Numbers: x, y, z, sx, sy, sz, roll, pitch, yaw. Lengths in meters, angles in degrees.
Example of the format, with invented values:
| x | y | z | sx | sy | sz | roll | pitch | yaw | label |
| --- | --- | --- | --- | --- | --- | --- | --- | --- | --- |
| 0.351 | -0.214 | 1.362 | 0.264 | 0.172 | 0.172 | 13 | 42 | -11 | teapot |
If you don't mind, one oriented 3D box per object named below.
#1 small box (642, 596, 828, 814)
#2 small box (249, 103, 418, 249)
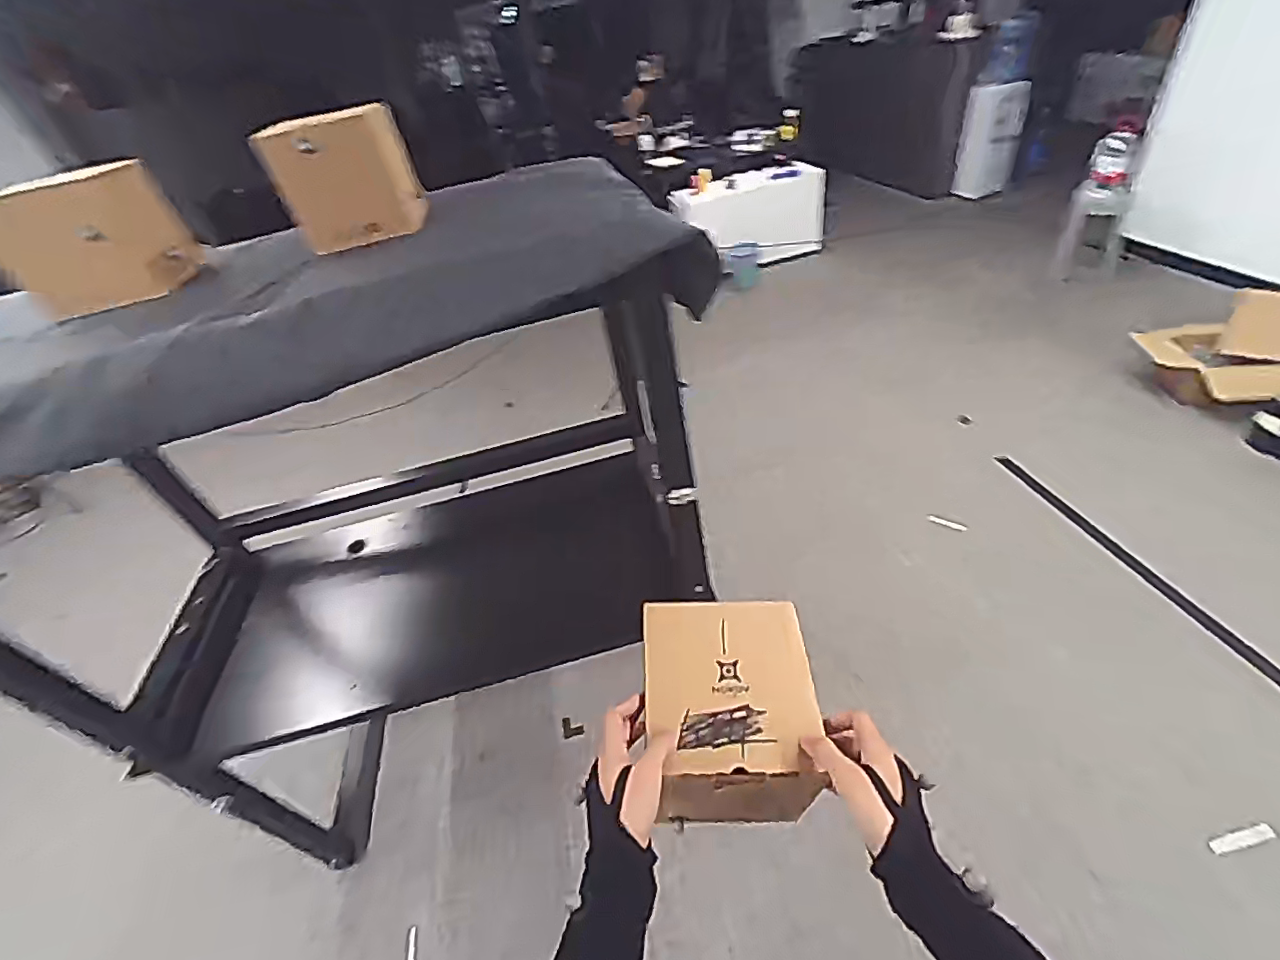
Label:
| x | y | z | sx | sy | sz | roll | pitch | yaw | label |
| --- | --- | --- | --- | --- | --- | --- | --- | --- | --- |
| 0.087 | 0.245 | 0.585 | 0.168 | 0.176 | 0.179 | -1 | 44 | 1 | small box |
| -0.480 | -0.495 | 0.882 | 0.168 | 0.176 | 0.179 | -16 | 39 | -4 | small box |
